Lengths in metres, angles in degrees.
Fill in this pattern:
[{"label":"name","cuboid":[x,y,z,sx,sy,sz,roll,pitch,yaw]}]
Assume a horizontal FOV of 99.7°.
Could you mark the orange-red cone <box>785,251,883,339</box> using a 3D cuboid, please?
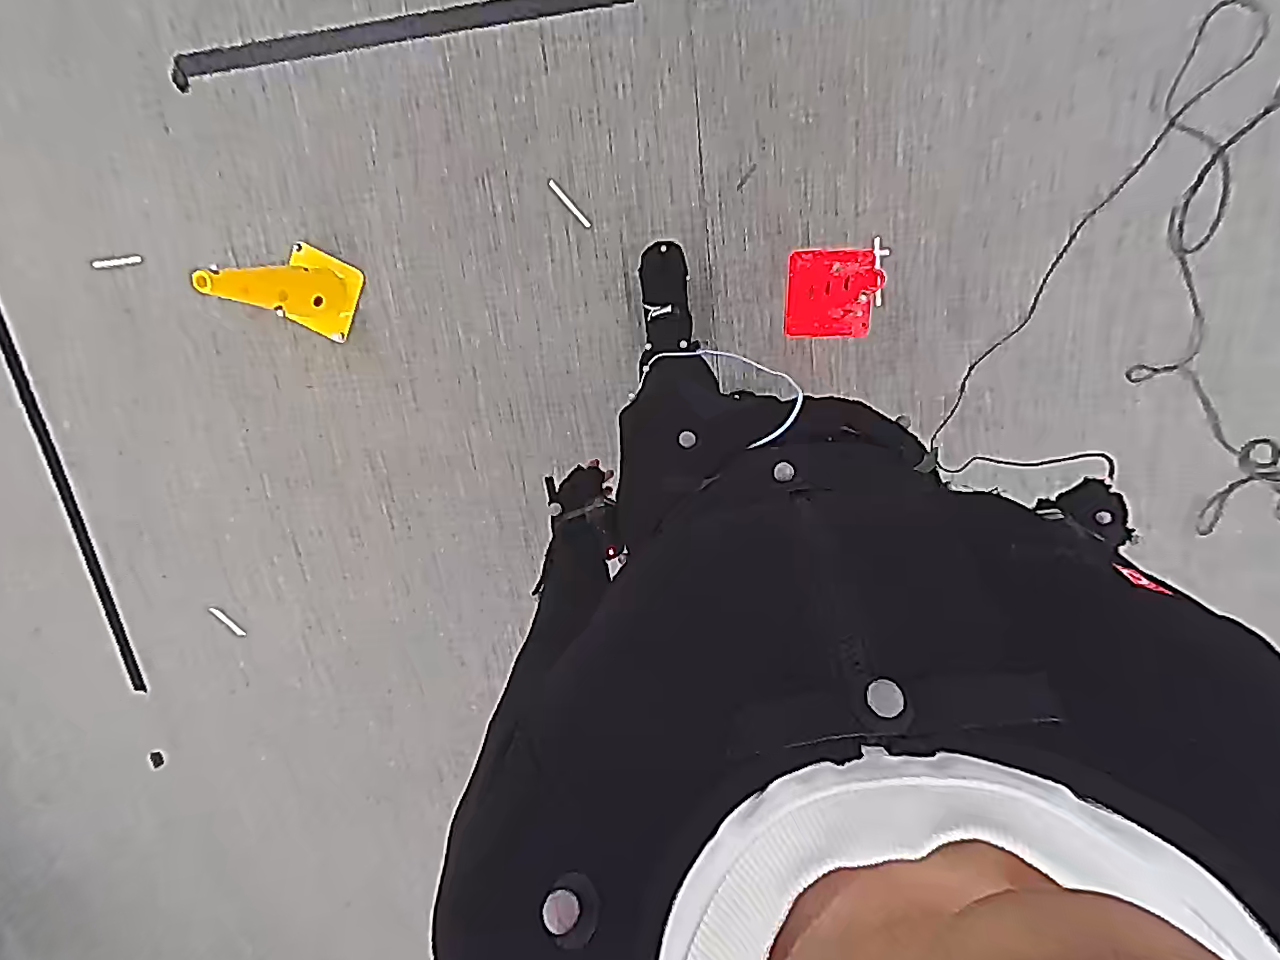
[{"label":"orange-red cone","cuboid":[0.429,-0.398,1.119,0.199,0.360,0.198,3,104,7]}]
